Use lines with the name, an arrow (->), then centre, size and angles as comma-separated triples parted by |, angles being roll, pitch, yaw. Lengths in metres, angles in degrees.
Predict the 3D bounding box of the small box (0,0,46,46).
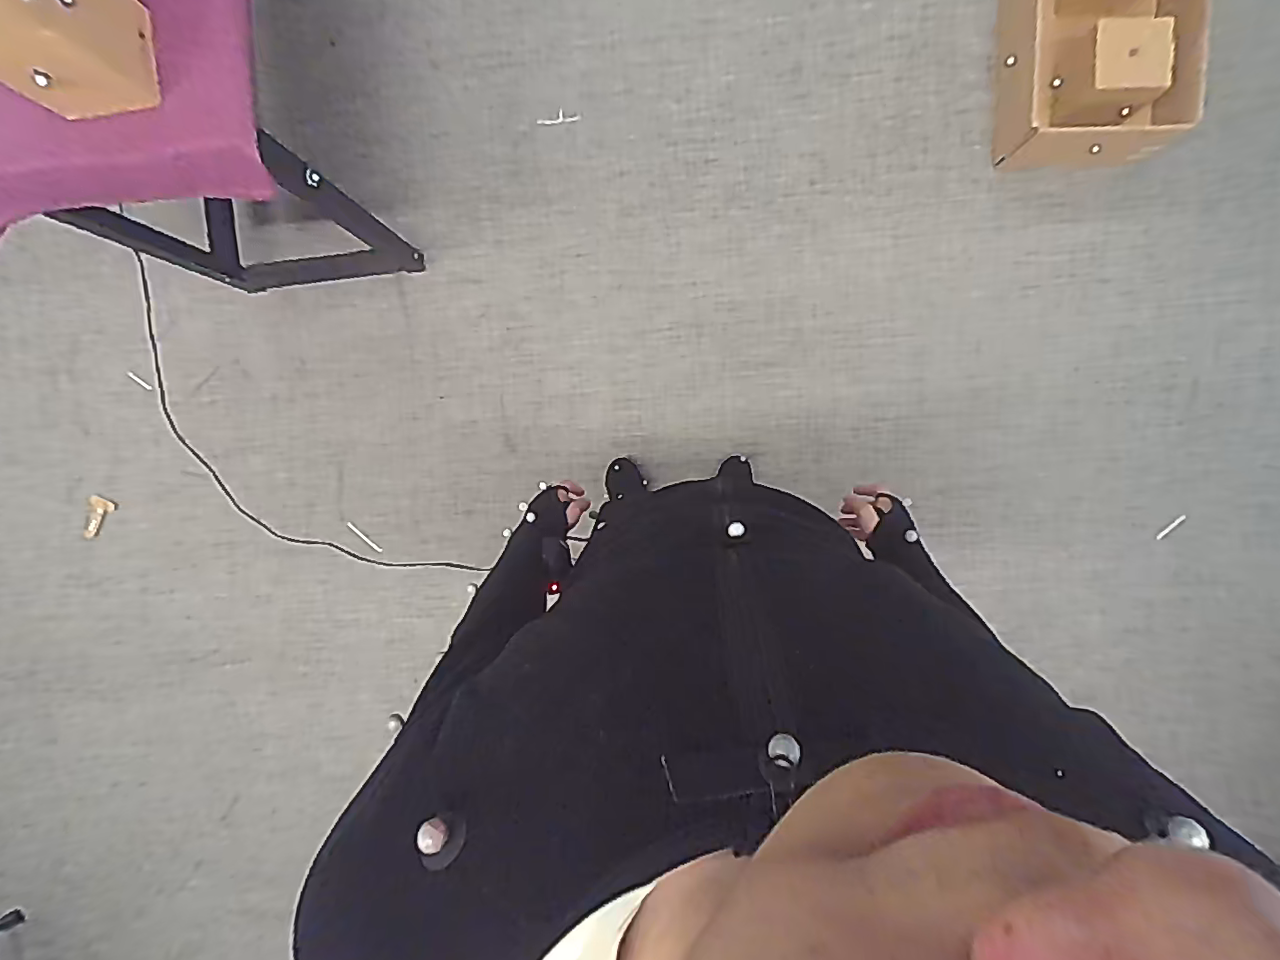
small box -> -0.929, -0.699, 0.694 | 0.179, 0.176, 0.168 | -5, 92, 5

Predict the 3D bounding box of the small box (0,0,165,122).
small box -> -0.917, -0.705, 0.859 | 0.179, 0.176, 0.168 | -5, 93, 5

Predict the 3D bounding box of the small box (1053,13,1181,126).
small box -> 1.190, -1.022, 1.359 | 0.179, 0.176, 0.168 | 1, 92, 4
